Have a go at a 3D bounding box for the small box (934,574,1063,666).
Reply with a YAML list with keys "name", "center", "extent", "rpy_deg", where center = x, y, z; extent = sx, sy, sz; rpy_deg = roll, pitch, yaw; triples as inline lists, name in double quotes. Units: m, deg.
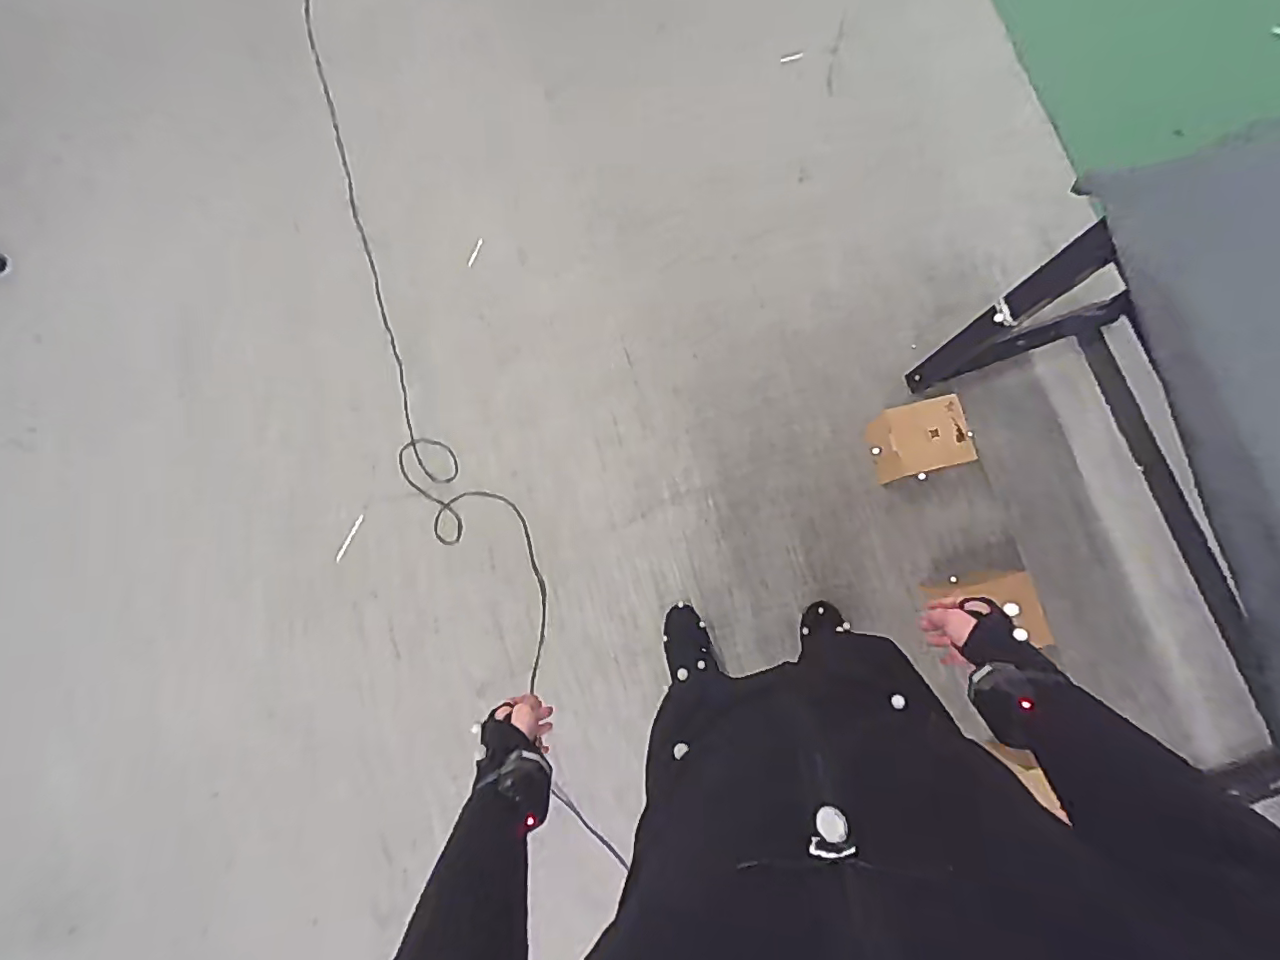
- name: "small box"
  center: [0.819, 0.320, 1.264]
  extent: [0.179, 0.176, 0.168]
  rpy_deg: [-16, 82, 1]
